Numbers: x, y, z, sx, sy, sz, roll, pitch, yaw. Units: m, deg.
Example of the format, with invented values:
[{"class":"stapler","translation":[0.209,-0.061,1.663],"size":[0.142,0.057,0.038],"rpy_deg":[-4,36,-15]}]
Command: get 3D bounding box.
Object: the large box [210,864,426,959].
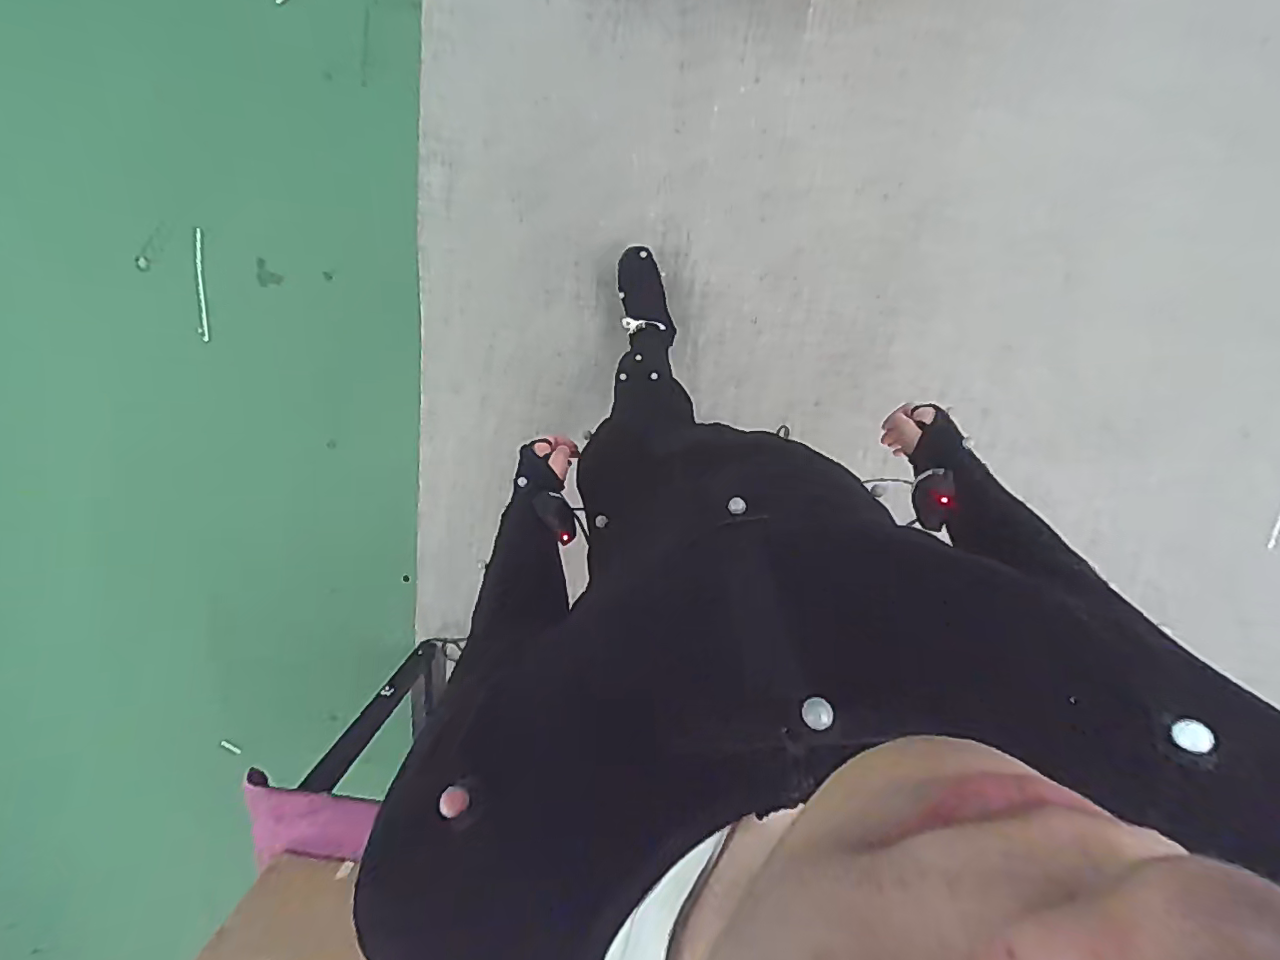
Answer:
[{"class":"large box","translation":[-0.609,1.025,1.003],"size":[0.320,0.320,0.408],"rpy_deg":[6,103,1]}]
